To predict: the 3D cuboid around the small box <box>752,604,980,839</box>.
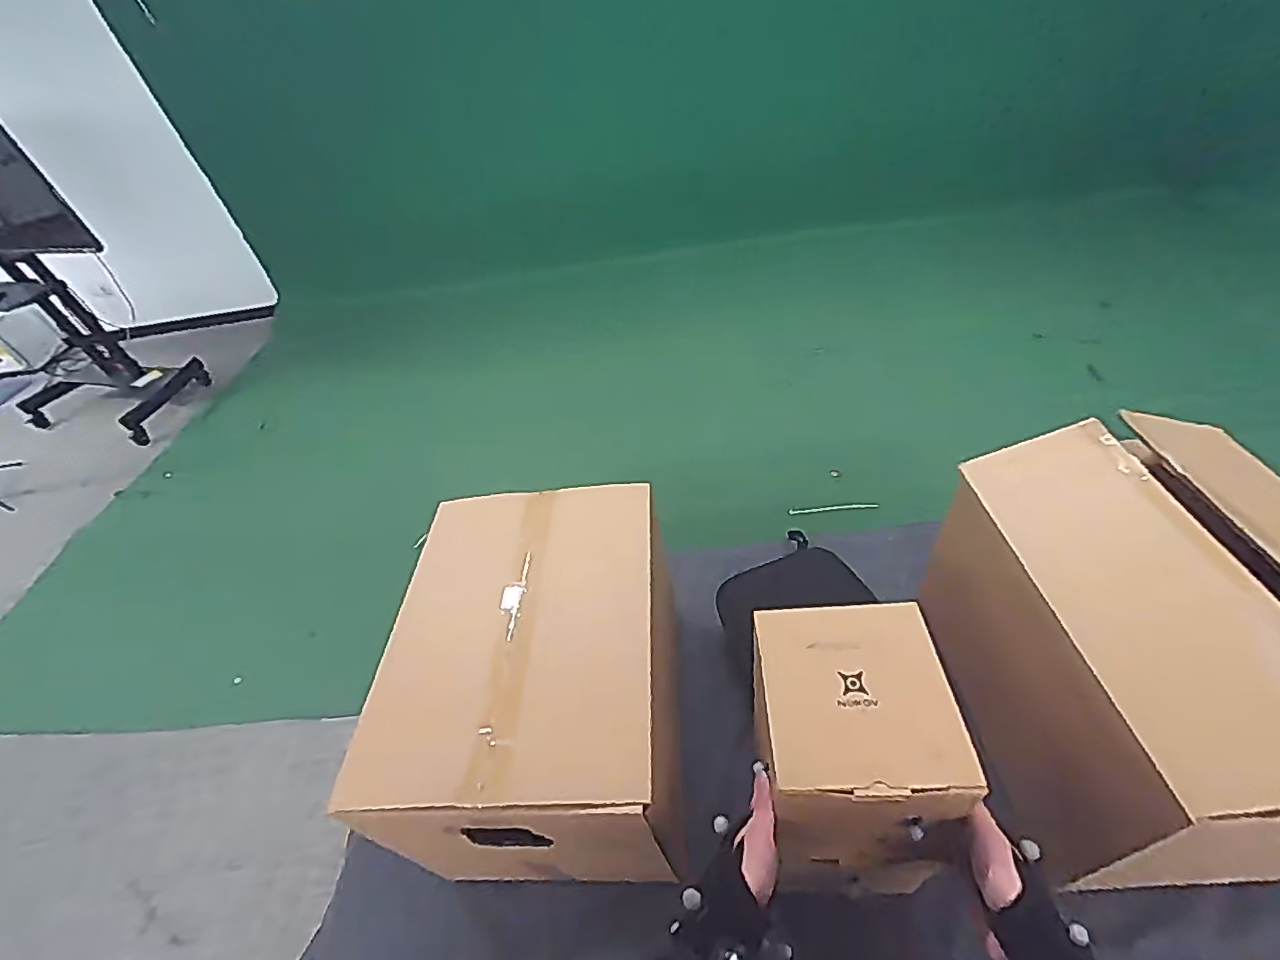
[{"bbox_3d":[0.209,0.251,0.557,0.168,0.176,0.179,-4,42,6],"label":"small box"}]
